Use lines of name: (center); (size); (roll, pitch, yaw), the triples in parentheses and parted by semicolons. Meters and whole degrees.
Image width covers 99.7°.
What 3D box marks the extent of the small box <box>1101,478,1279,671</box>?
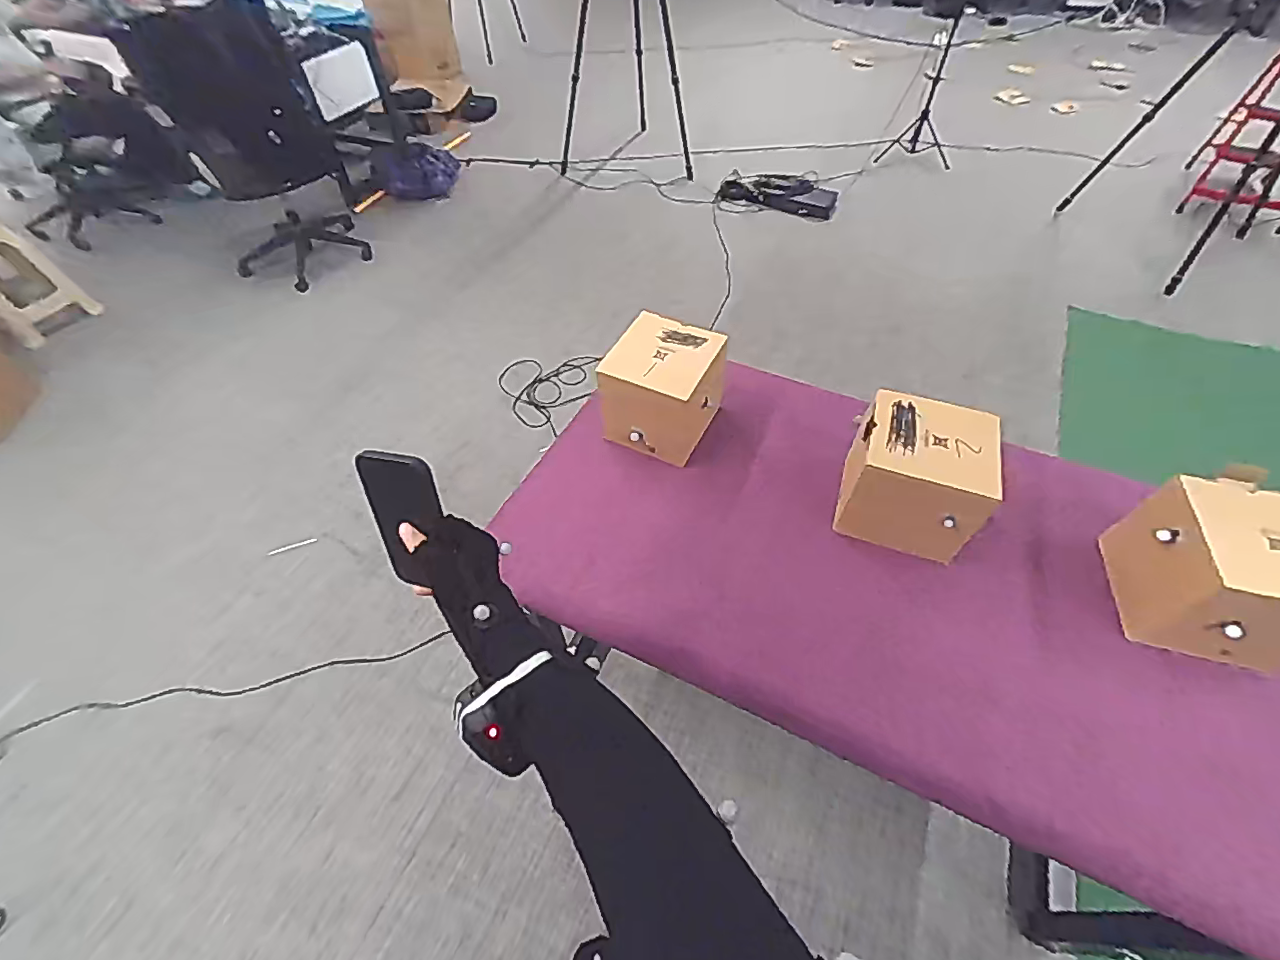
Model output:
small box: (0.765, 0.128, 0.714); (0.168, 0.176, 0.179); (12, 52, 11)

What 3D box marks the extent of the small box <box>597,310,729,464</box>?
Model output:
small box: (0.041, -0.161, 0.948); (0.168, 0.176, 0.179); (22, 57, 17)
